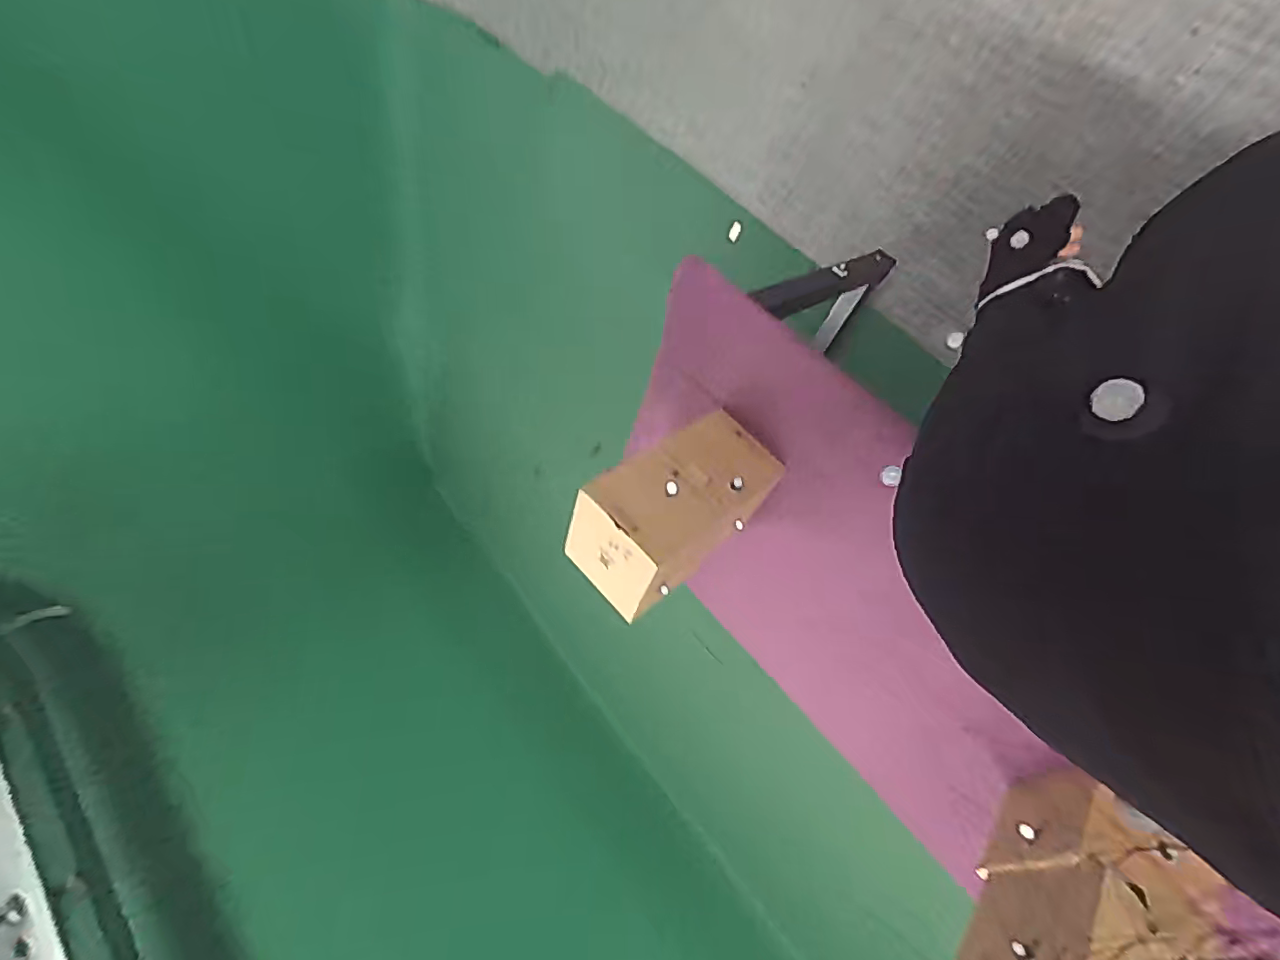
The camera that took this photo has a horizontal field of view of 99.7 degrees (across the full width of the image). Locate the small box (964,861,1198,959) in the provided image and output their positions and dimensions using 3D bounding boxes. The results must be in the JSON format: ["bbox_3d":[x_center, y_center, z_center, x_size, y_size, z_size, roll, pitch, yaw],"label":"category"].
[{"bbox_3d":[0.524,0.586,0.635,0.168,0.176,0.179,48,141,17],"label":"small box"}]

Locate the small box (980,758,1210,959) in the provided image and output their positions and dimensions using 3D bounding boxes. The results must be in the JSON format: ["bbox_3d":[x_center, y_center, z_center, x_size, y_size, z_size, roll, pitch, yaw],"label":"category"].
[{"bbox_3d":[0.628,0.526,0.748,0.168,0.176,0.179,45,139,20],"label":"small box"}]

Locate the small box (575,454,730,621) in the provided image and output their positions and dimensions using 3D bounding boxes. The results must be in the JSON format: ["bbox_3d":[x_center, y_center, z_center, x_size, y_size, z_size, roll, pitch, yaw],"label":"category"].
[{"bbox_3d":[0.019,0.090,0.882,0.168,0.176,0.179,43,140,20],"label":"small box"}]
